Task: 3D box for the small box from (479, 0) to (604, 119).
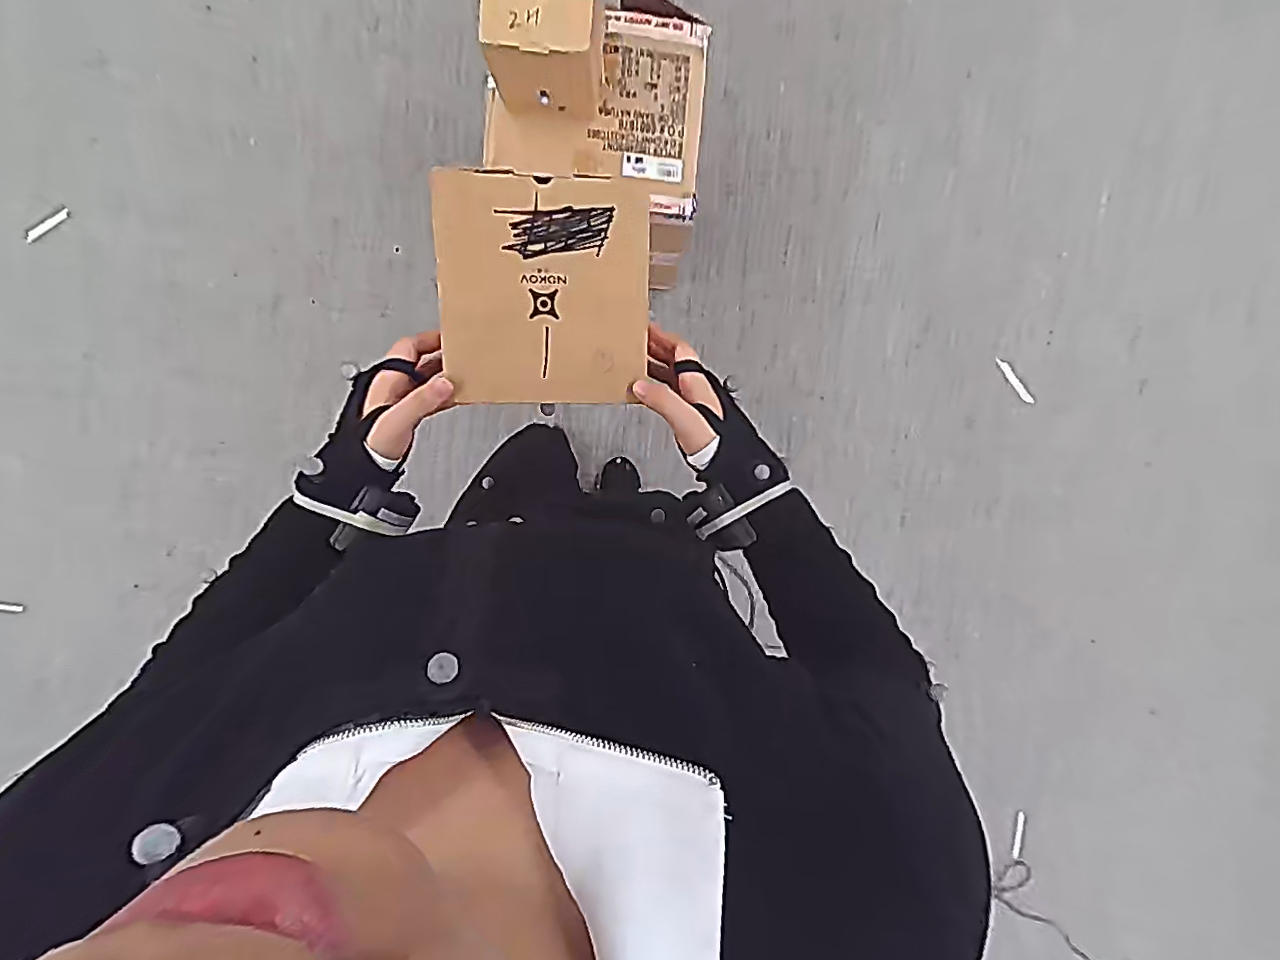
[{"bbox_3d":[-0.149,-0.724,0.866,0.168,0.176,0.179,5,96,-1],"label":"small box"}]
